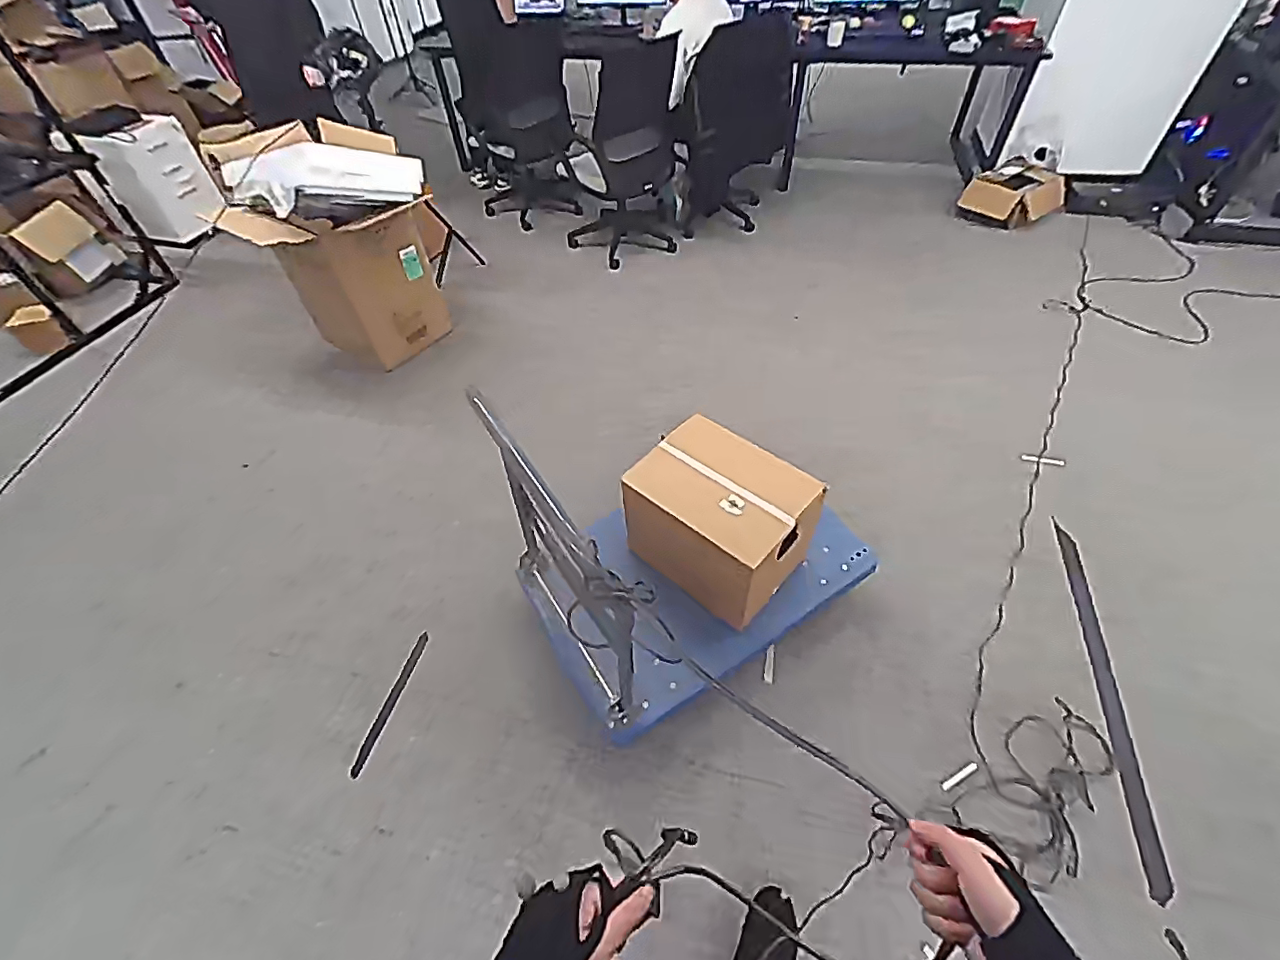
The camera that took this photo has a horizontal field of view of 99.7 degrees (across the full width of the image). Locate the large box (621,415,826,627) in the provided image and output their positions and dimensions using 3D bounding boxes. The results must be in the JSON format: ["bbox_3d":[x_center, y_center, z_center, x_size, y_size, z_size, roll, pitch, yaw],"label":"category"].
[{"bbox_3d":[0.201,0.101,1.420,0.408,0.320,0.320,34,60,27],"label":"large box"}]
